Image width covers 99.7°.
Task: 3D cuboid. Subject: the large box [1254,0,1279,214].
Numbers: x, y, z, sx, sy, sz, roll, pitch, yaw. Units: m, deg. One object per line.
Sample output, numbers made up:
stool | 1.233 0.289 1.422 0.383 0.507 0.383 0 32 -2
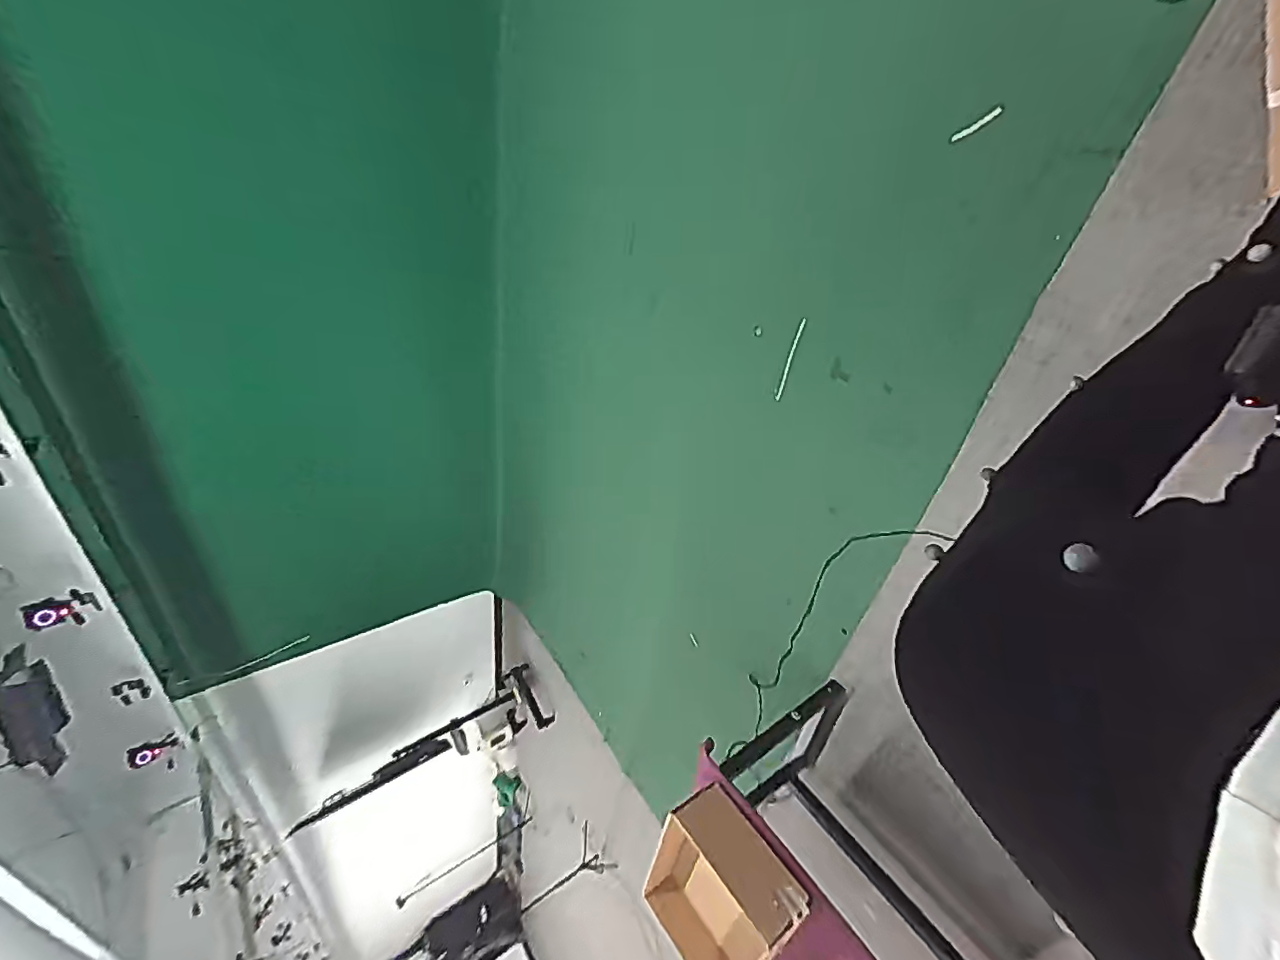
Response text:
large box | 1.182 -0.603 0.748 0.408 0.320 0.320 2 105 55
